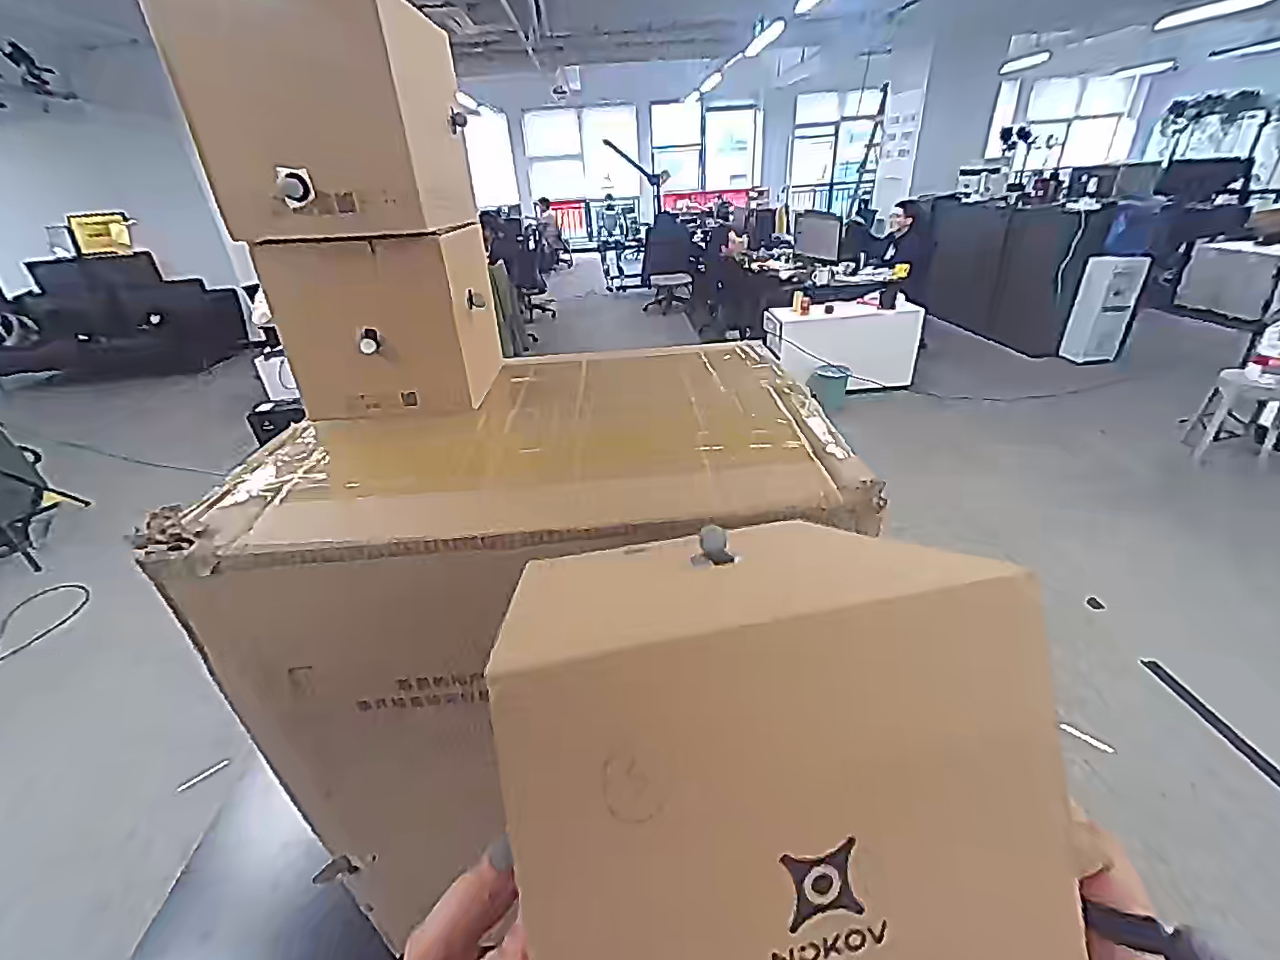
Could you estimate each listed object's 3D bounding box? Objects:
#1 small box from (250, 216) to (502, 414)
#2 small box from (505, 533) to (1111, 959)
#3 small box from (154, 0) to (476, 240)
[{"bbox_3d":[-0.250,-0.174,0.569,0.168,0.176,0.179,-4,29,-2],"label":"small box"},{"bbox_3d":[0.043,0.119,0.230,0.168,0.179,0.176,-8,0,-7],"label":"small box"},{"bbox_3d":[-0.255,-0.310,0.476,0.168,0.176,0.179,-4,29,0],"label":"small box"}]
